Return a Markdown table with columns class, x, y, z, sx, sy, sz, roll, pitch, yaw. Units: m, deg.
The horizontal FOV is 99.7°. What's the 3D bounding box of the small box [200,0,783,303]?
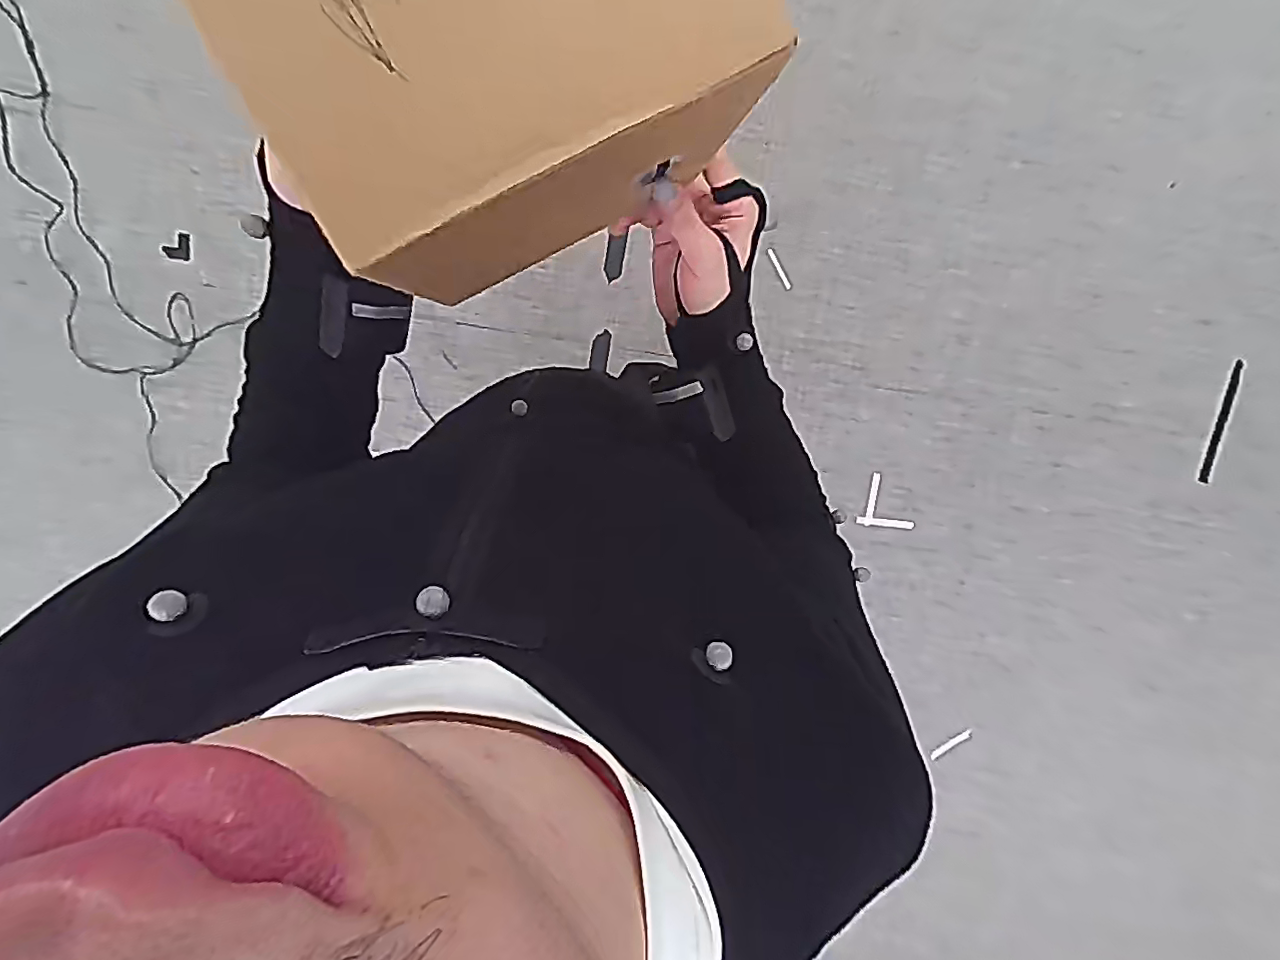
| class | x | y | z | sx | sy | sz | roll | pitch | yaw |
| --- | --- | --- | --- | --- | --- | --- | --- | --- | --- |
| small box | -0.068 | -0.201 | 0.253 | 0.179 | 0.176 | 0.168 | -28 | 105 | 1 |
